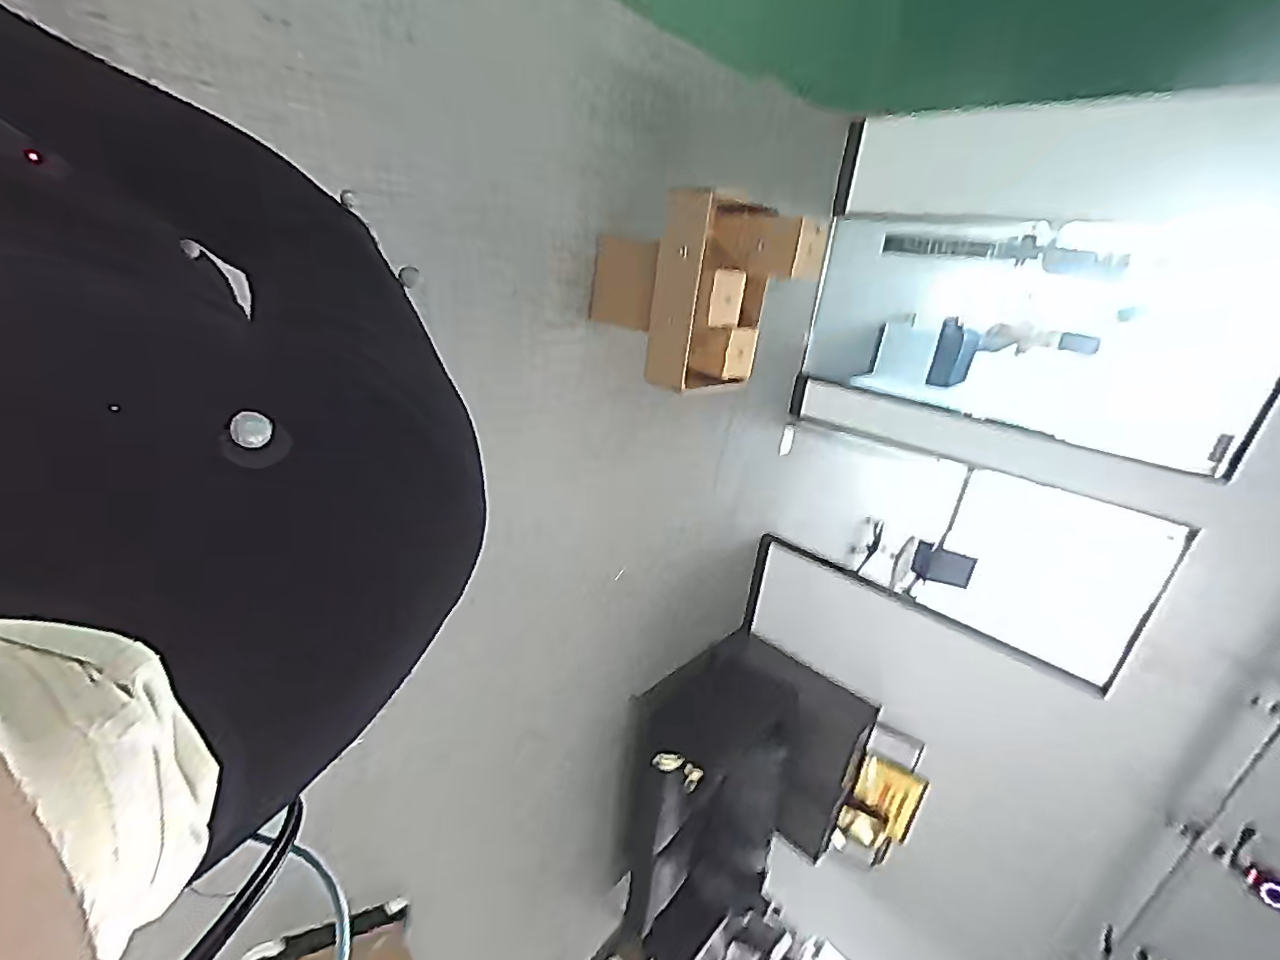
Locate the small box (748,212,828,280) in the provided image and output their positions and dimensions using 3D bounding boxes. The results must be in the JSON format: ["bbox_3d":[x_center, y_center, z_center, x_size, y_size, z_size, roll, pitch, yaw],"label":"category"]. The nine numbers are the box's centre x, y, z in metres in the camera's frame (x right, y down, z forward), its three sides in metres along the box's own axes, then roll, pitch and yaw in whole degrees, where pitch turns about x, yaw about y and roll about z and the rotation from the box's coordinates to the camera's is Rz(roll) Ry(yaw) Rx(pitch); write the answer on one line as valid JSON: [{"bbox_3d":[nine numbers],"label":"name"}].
[{"bbox_3d":[0.469,-0.751,1.735,0.168,0.176,0.179,-16,122,-44],"label":"small box"}]
